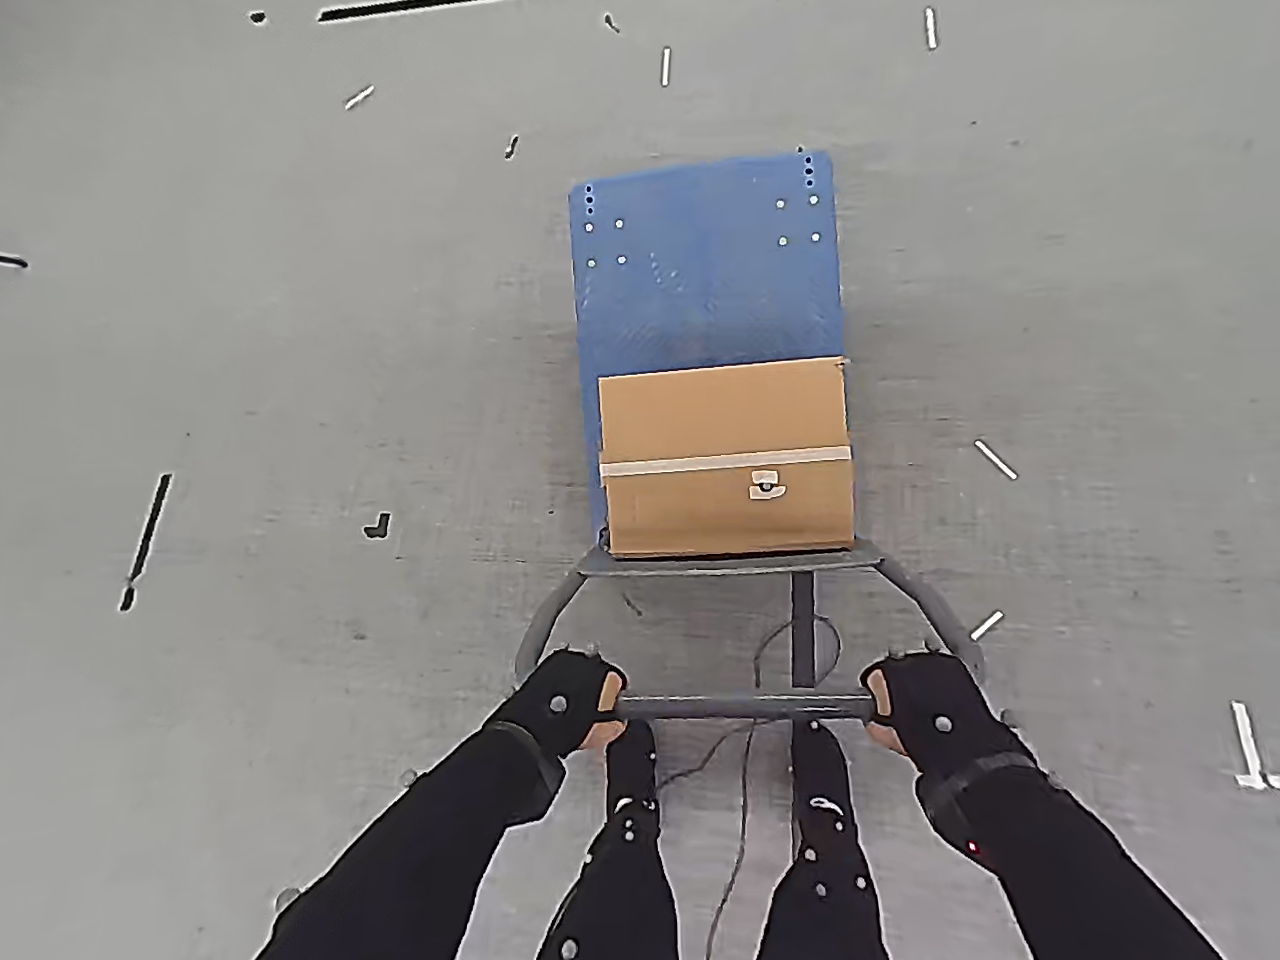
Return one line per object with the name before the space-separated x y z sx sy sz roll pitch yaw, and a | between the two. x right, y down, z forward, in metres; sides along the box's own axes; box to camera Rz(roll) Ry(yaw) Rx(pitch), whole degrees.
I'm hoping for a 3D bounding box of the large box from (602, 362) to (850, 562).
large box | 0.157 -0.029 1.067 0.408 0.320 0.320 -4 92 6
